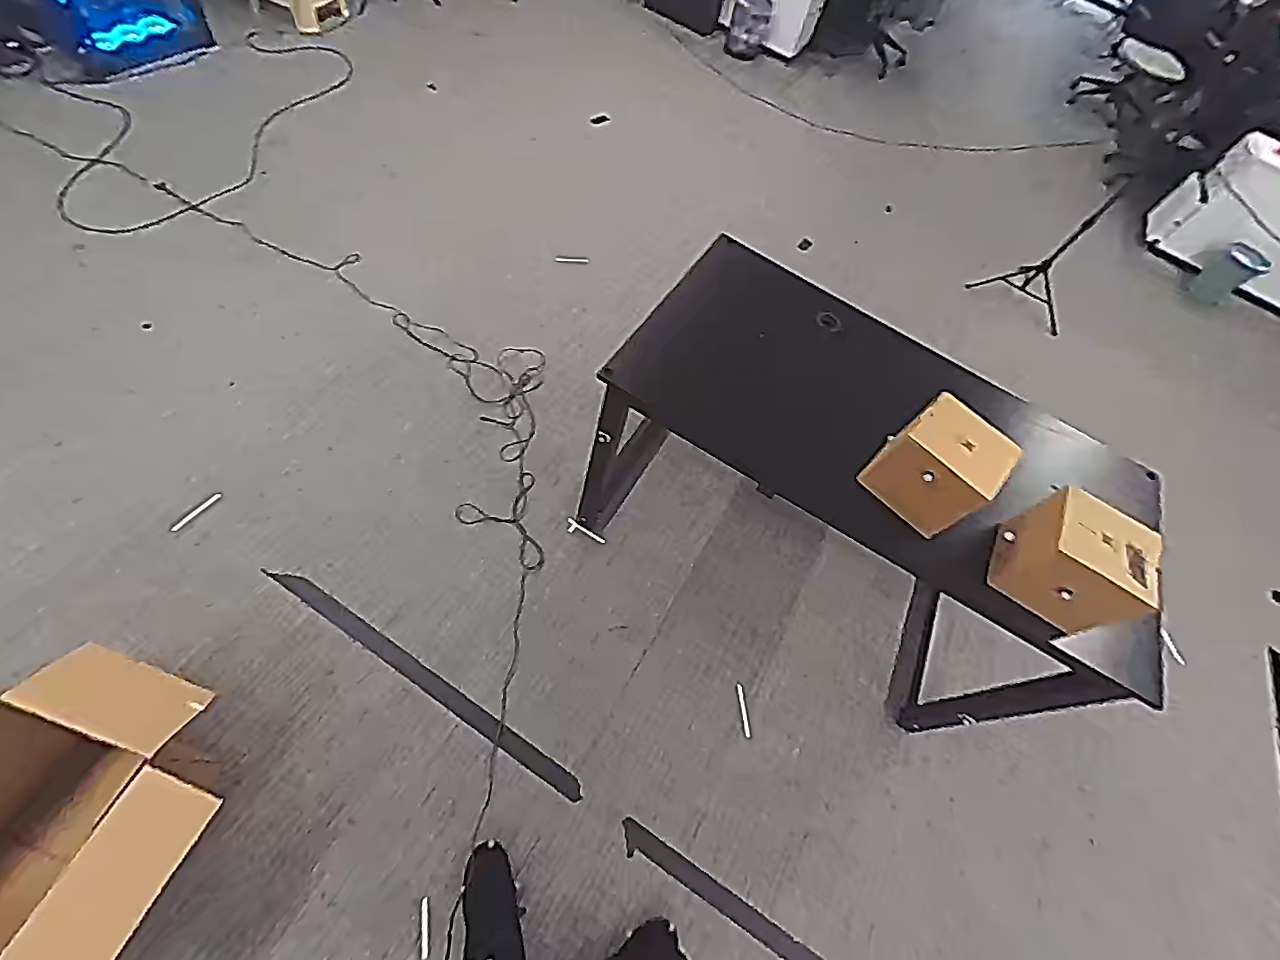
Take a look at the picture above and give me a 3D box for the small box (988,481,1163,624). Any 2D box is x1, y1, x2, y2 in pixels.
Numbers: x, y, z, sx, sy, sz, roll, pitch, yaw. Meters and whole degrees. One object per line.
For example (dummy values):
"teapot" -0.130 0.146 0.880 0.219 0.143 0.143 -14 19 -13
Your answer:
"small box" 0.783 0.140 0.982 0.179 0.176 0.168 33 58 8

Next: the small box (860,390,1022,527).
"small box" 0.566 -0.031 1.034 0.179 0.176 0.168 43 60 14
